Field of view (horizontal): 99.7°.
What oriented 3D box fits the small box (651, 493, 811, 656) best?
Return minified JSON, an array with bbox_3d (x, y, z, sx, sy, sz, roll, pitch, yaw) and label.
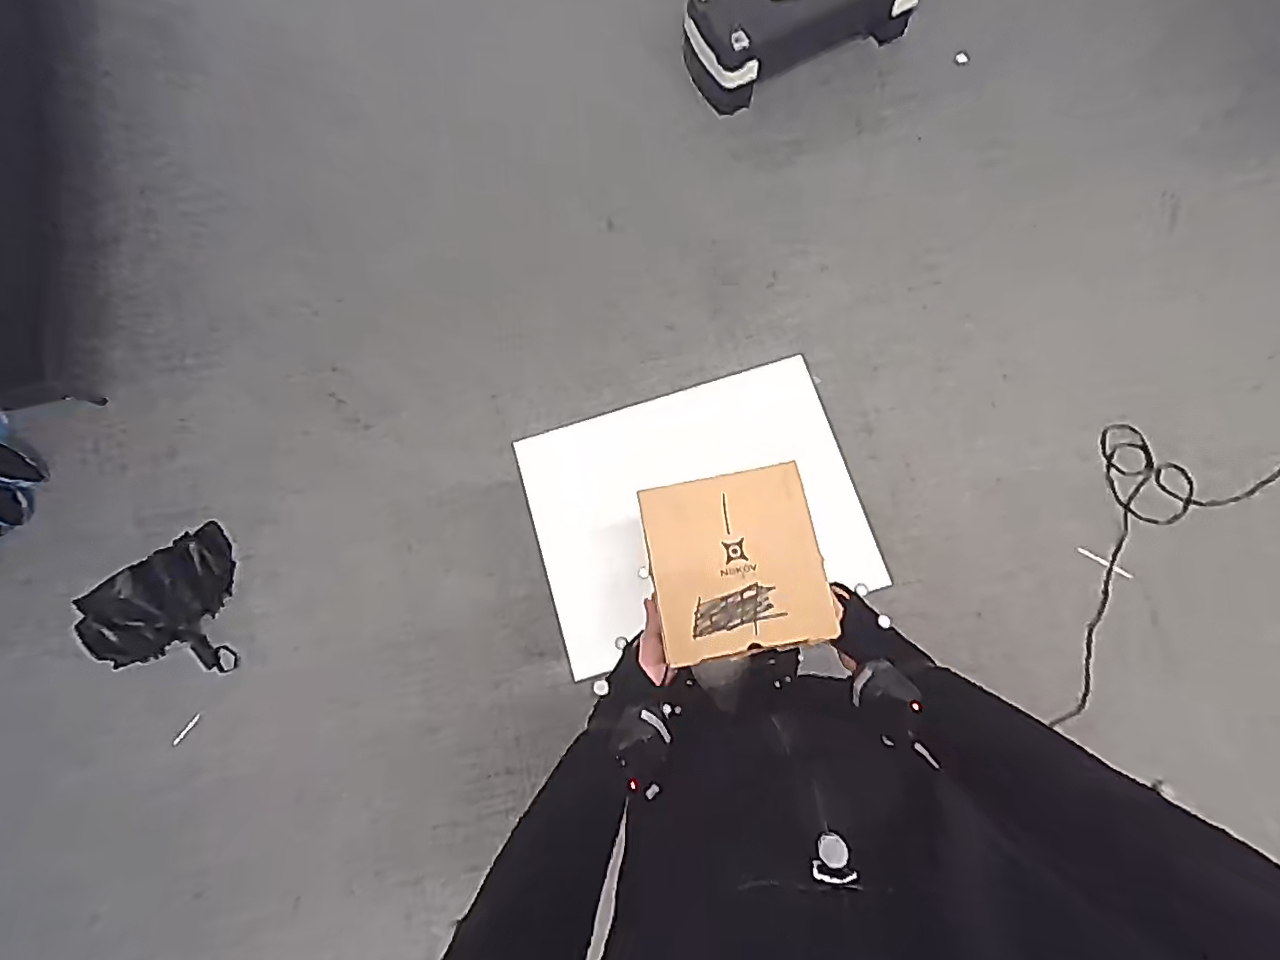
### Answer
[{"bbox_3d":[0.116,0.137,0.765,0.168,0.176,0.179,-16,76,0],"label":"small box"}]
